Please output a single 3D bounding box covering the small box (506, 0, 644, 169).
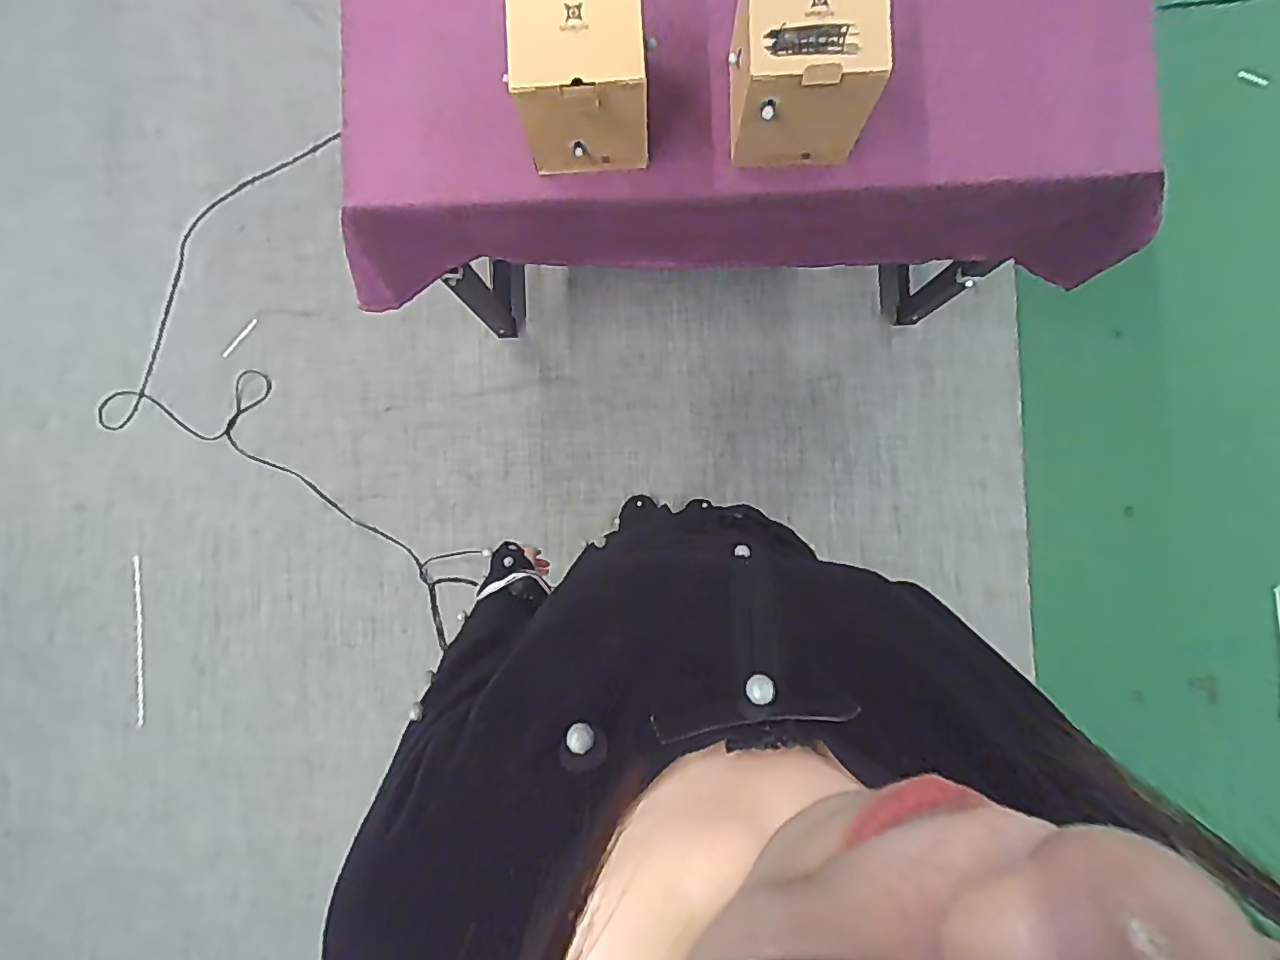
[{"bbox_3d":[-0.081,-0.562,0.738,0.168,0.176,0.179,-3,89,1],"label":"small box"}]
